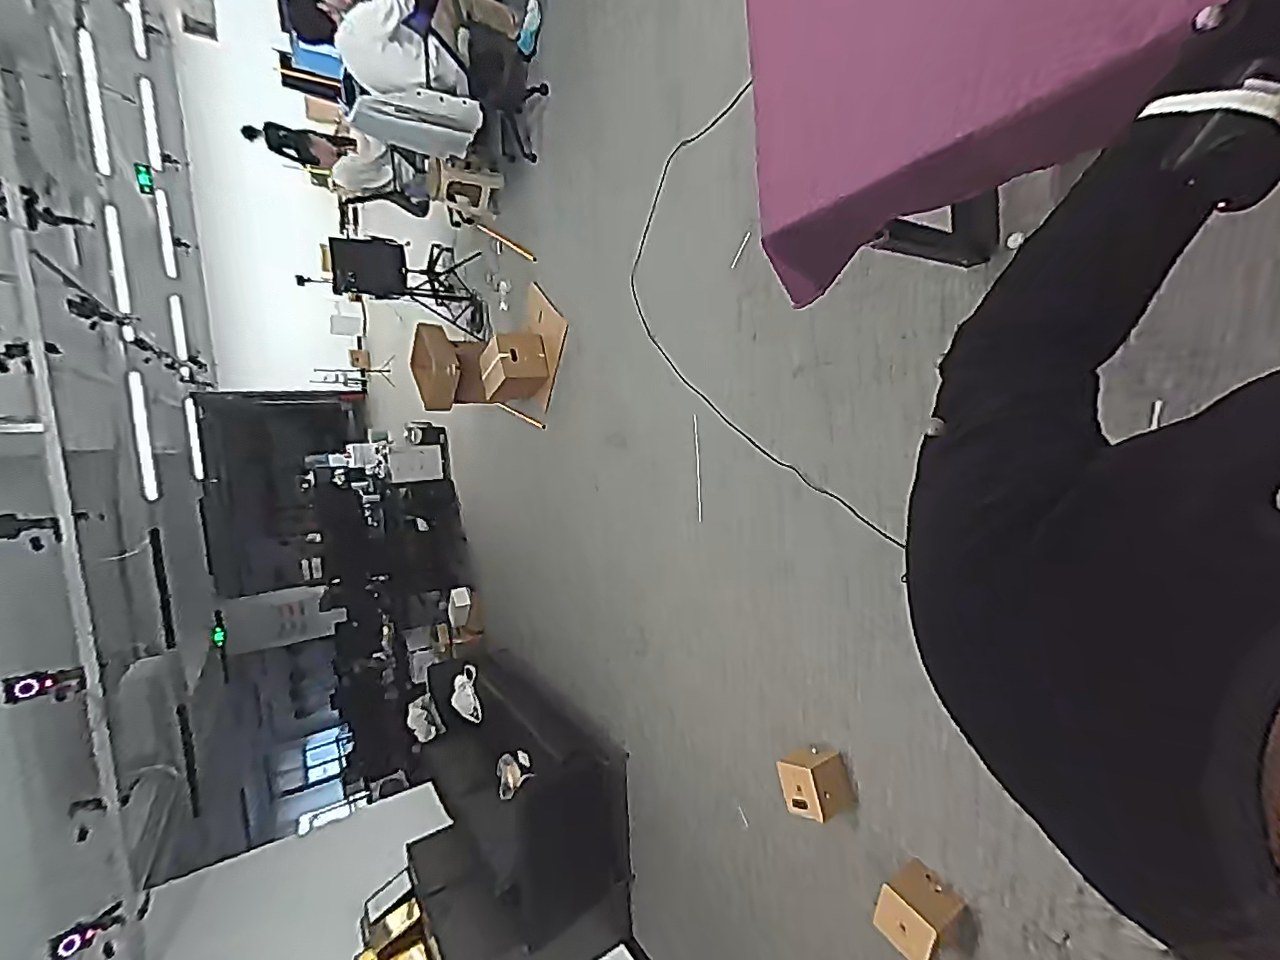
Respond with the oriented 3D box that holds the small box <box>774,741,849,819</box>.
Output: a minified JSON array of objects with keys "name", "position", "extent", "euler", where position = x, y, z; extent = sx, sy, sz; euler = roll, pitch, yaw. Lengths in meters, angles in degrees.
[{"name":"small box","position":[0.616,1.063,1.929],"extent":[0.168,0.176,0.179],"euler":[-26,74,55]}]

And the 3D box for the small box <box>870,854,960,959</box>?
[{"name":"small box","position":[0.835,1.296,1.638],"extent":[0.168,0.176,0.179],"euler":[28,118,51]}]
